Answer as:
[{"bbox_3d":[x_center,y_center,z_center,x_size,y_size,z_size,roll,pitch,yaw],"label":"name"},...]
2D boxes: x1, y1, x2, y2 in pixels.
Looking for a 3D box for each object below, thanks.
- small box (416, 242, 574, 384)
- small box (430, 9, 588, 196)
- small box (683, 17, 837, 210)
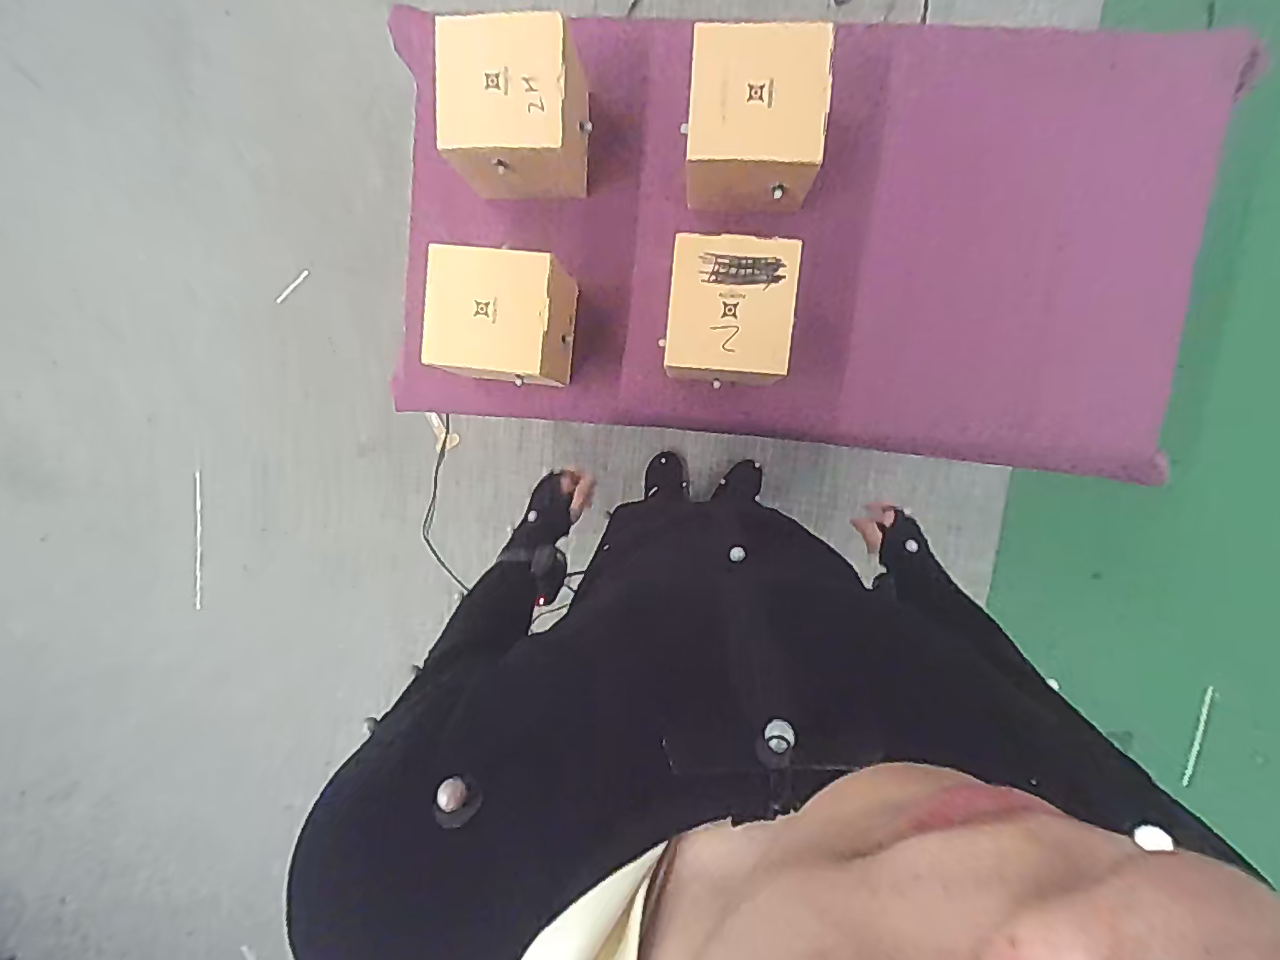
[{"bbox_3d":[-0.209,-0.240,0.812,0.179,0.176,0.168,7,95,4],"label":"small box"},{"bbox_3d":[-0.180,-0.527,0.778,0.179,0.176,0.168,3,97,5],"label":"small box"},{"bbox_3d":[0.156,-0.492,0.750,0.179,0.176,0.168,5,96,6],"label":"small box"}]
